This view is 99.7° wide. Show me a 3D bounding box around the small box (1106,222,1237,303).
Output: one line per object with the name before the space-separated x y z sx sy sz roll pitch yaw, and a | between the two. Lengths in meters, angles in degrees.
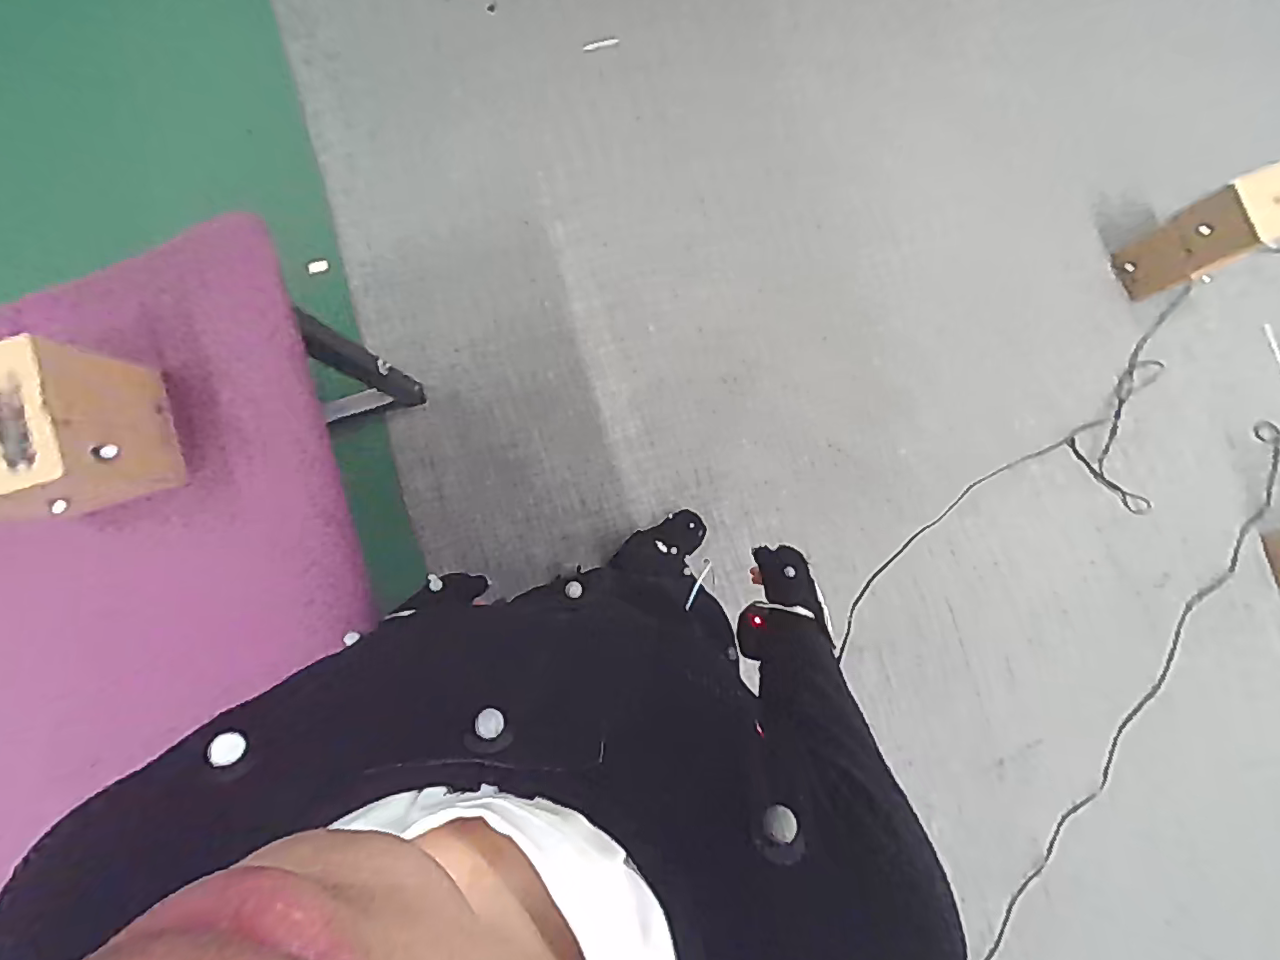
small box | 1.487 -0.628 1.523 0.179 0.176 0.168 -20 87 -3

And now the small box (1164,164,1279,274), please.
small box | 1.485 -0.648 1.360 0.179 0.176 0.168 -20 87 -3

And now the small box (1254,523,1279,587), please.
small box | 1.863 0.205 1.483 0.179 0.176 0.168 -18 90 -1
